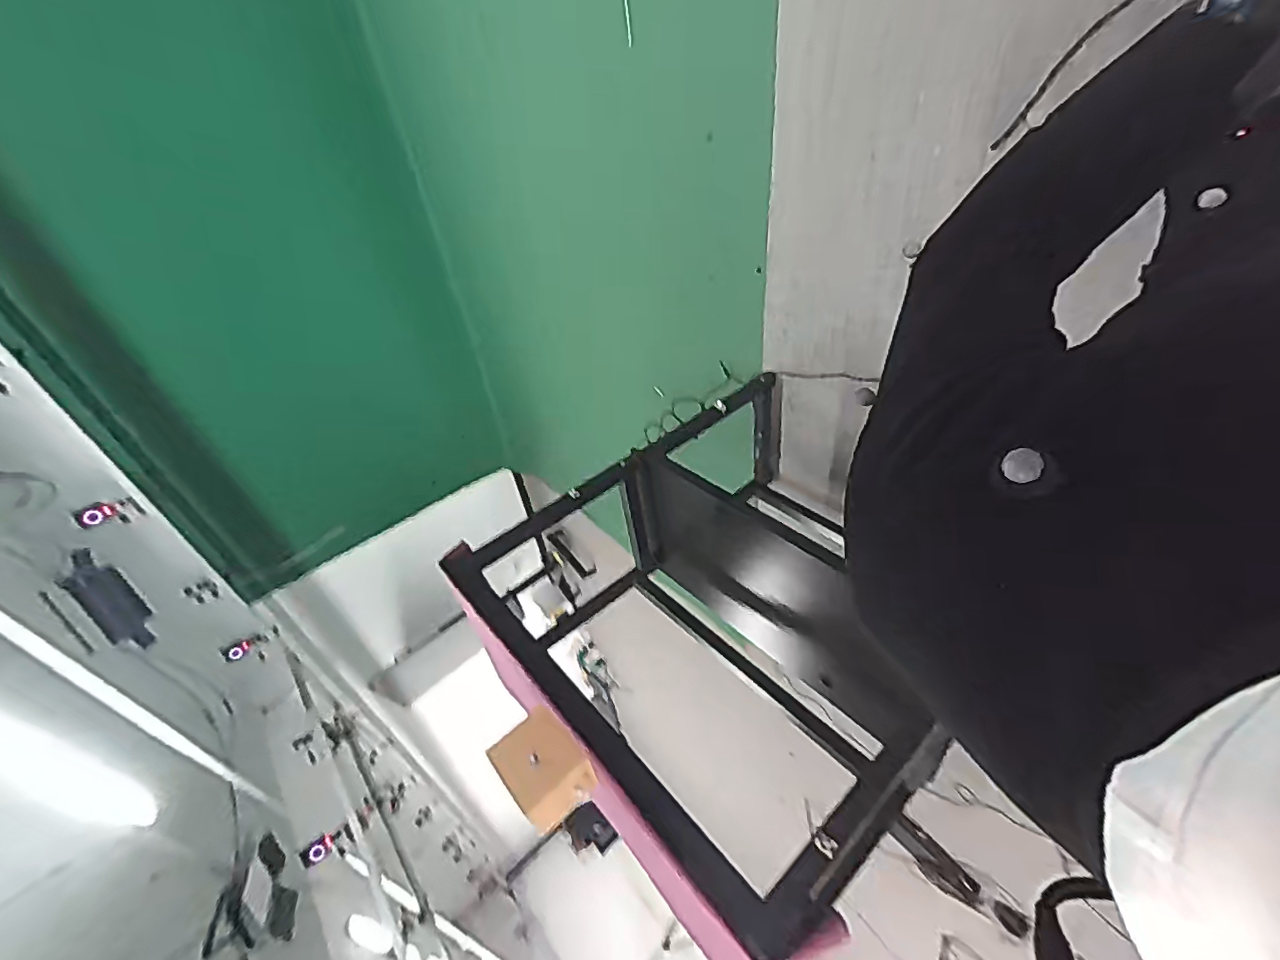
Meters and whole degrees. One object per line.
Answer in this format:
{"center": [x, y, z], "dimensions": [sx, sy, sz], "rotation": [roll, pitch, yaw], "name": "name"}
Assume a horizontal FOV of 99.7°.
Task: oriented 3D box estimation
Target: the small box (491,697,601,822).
{"center": [-0.211, 0.631, 1.245], "dimensions": [0.179, 0.176, 0.168], "rotation": [36, 148, 35], "name": "small box"}
